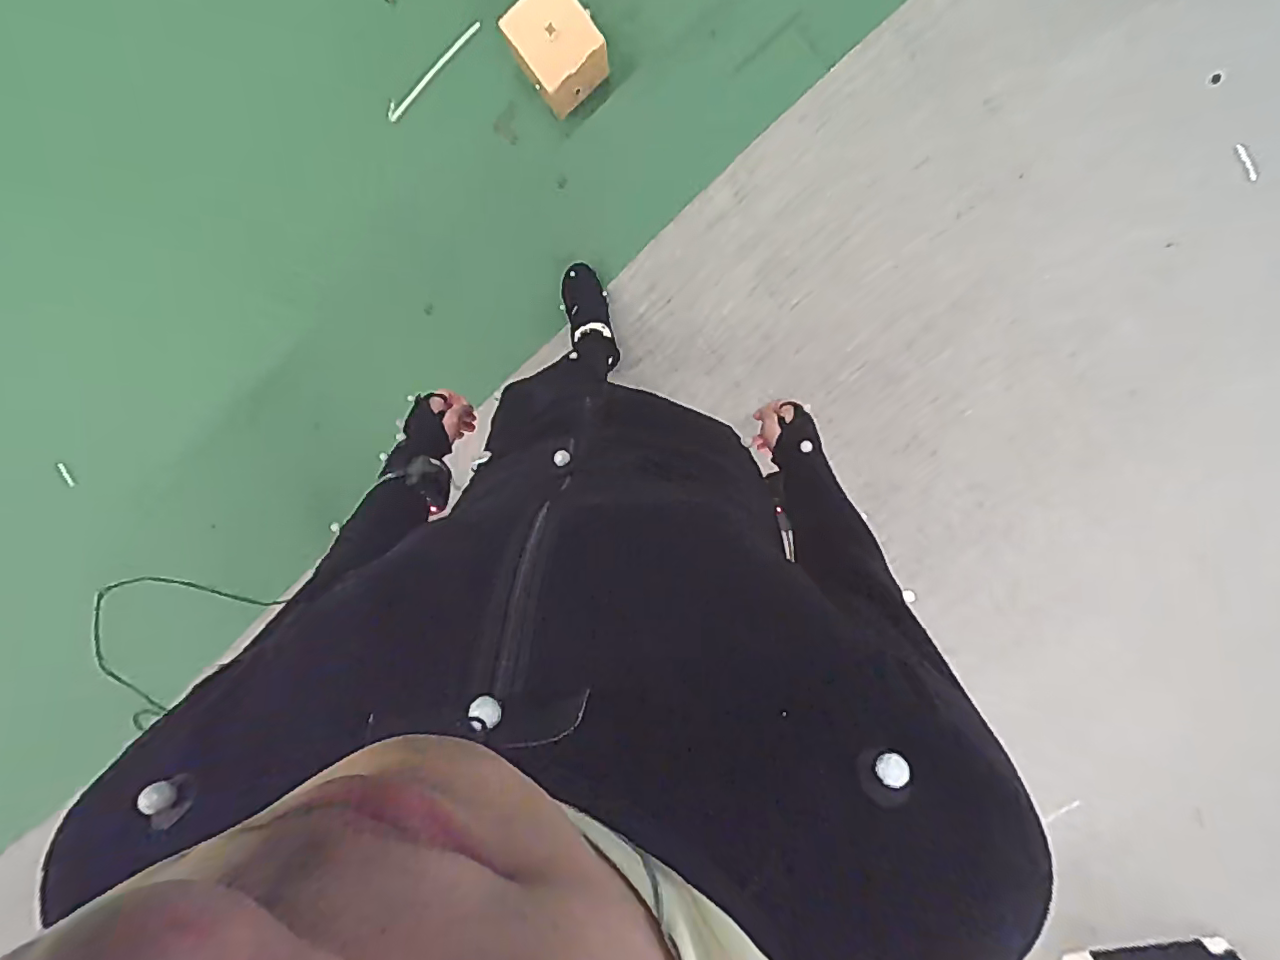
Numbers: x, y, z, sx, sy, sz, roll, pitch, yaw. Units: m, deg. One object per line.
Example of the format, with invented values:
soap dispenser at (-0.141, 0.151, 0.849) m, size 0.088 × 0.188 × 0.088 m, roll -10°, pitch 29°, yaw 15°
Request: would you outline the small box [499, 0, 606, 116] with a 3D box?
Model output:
small box at (-0.195, -0.999, 1.255) m, size 0.168 × 0.176 × 0.179 m, roll -39°, pitch 104°, yaw 10°
